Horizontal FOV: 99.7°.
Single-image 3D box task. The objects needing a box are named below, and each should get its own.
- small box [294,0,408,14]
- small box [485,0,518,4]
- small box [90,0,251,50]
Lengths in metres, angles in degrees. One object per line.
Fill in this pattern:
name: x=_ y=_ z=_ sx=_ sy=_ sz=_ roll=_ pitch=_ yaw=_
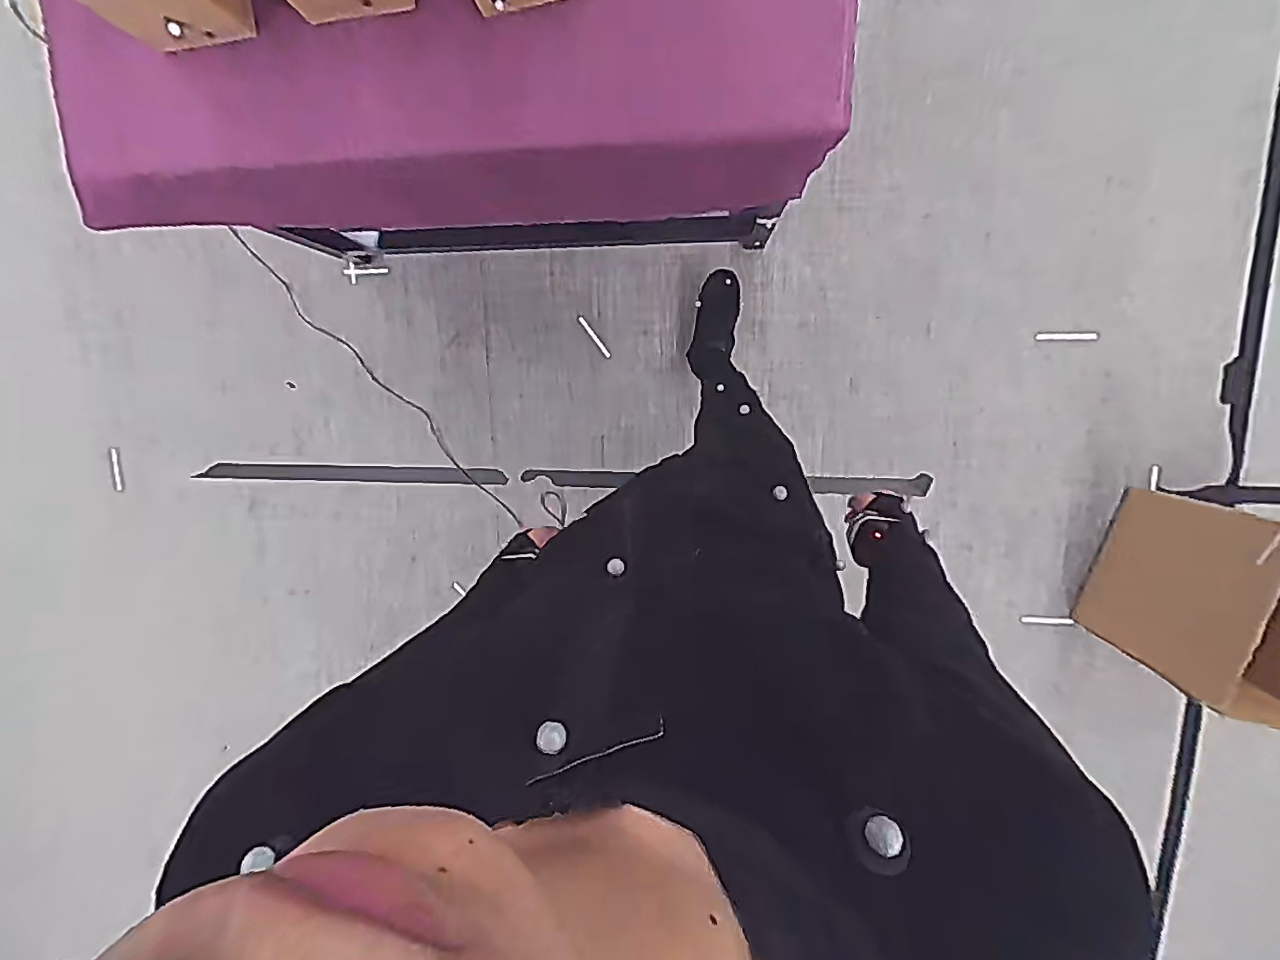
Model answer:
small box: x=-0.419 y=-0.747 z=0.695 sx=0.168 sy=0.176 sz=0.179 roll=-3 pitch=99 yaw=5
small box: x=-0.167 y=-0.743 z=0.670 sx=0.168 sy=0.176 sz=0.179 roll=-8 pitch=98 yaw=6
small box: x=-0.668 y=-0.727 z=0.719 sx=0.168 sy=0.176 sz=0.179 roll=-4 pitch=99 yaw=7
